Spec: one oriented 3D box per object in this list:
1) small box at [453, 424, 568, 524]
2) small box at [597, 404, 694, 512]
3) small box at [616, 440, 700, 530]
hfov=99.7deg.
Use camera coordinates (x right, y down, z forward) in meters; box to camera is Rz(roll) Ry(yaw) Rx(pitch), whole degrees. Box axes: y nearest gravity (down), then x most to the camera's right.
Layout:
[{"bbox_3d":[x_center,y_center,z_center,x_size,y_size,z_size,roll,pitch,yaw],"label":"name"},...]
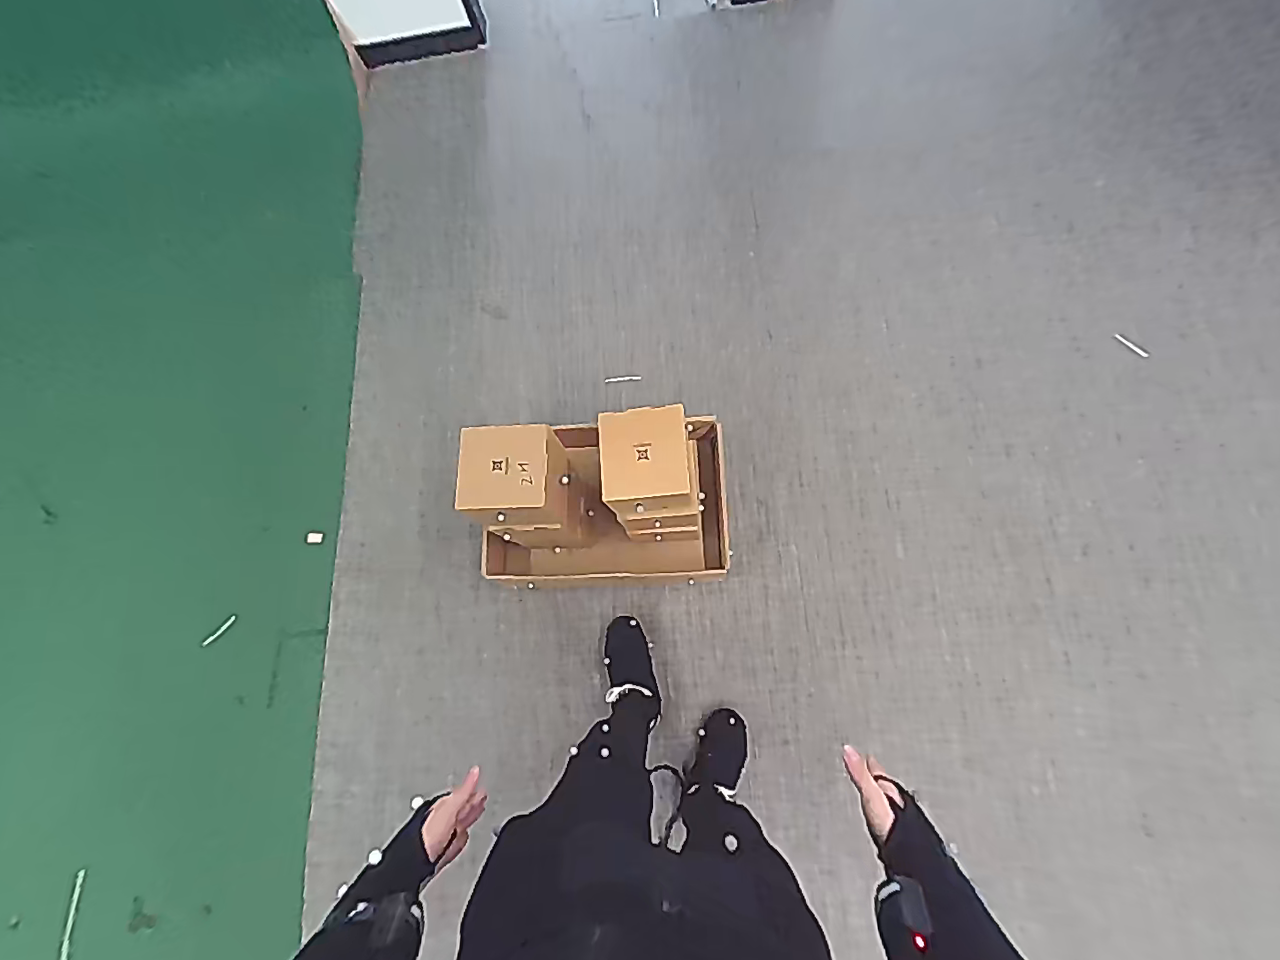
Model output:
[{"bbox_3d":[-0.254,-0.006,1.097,0.179,0.176,0.168,-2,75,6],"label":"small box"},{"bbox_3d":[0.016,-0.034,1.079,0.168,0.176,0.179,-6,76,7],"label":"small box"},{"bbox_3d":[0.041,0.018,1.231,0.179,0.176,0.168,-5,76,6],"label":"small box"}]
